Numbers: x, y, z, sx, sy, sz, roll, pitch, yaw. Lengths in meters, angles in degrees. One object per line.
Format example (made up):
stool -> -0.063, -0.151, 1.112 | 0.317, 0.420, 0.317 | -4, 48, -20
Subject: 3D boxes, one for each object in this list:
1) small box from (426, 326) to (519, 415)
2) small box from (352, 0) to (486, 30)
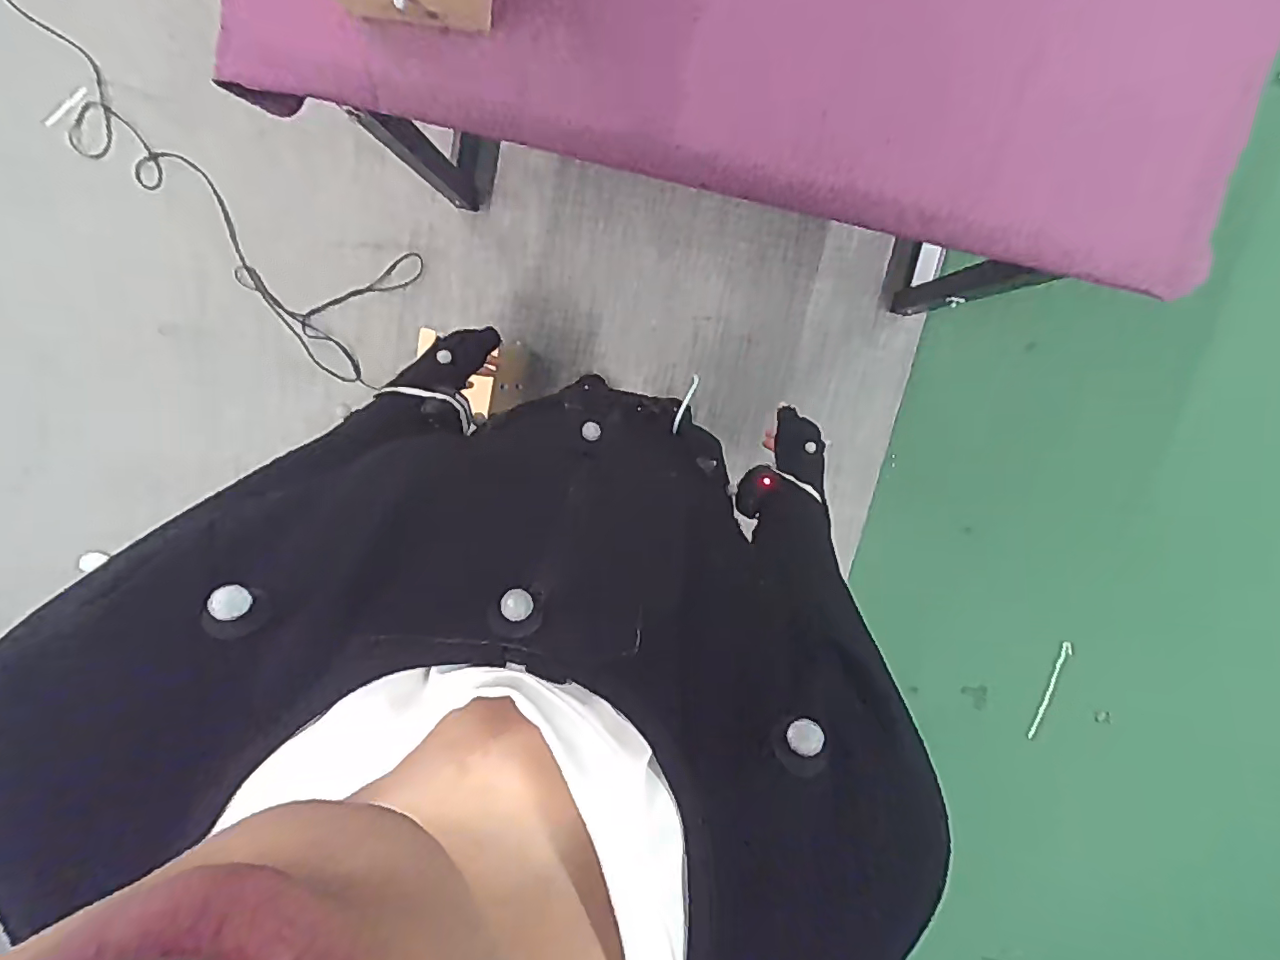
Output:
small box -> -0.411, -0.273, 1.354 | 0.168, 0.176, 0.179 | 14, 102, -2
small box -> -0.252, -0.615, 0.545 | 0.168, 0.176, 0.179 | 8, 100, -2
